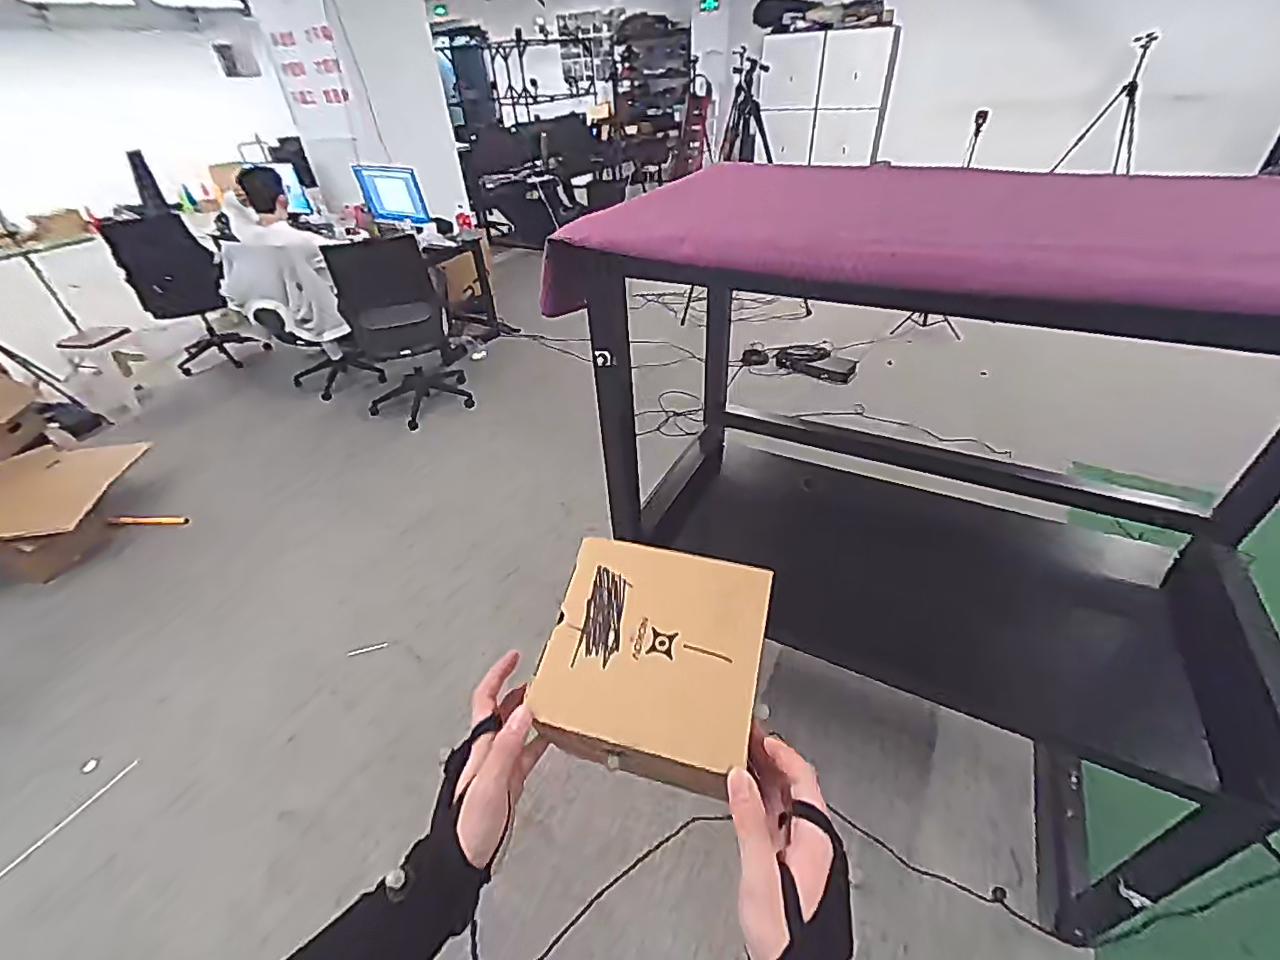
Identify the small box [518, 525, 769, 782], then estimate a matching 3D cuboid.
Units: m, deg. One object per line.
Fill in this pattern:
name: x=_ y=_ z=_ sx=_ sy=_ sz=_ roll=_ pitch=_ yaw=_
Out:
small box: x=0.016 y=0.166 z=0.506 sx=0.179 sy=0.176 sz=0.168 roll=9 pitch=57 yaw=14
